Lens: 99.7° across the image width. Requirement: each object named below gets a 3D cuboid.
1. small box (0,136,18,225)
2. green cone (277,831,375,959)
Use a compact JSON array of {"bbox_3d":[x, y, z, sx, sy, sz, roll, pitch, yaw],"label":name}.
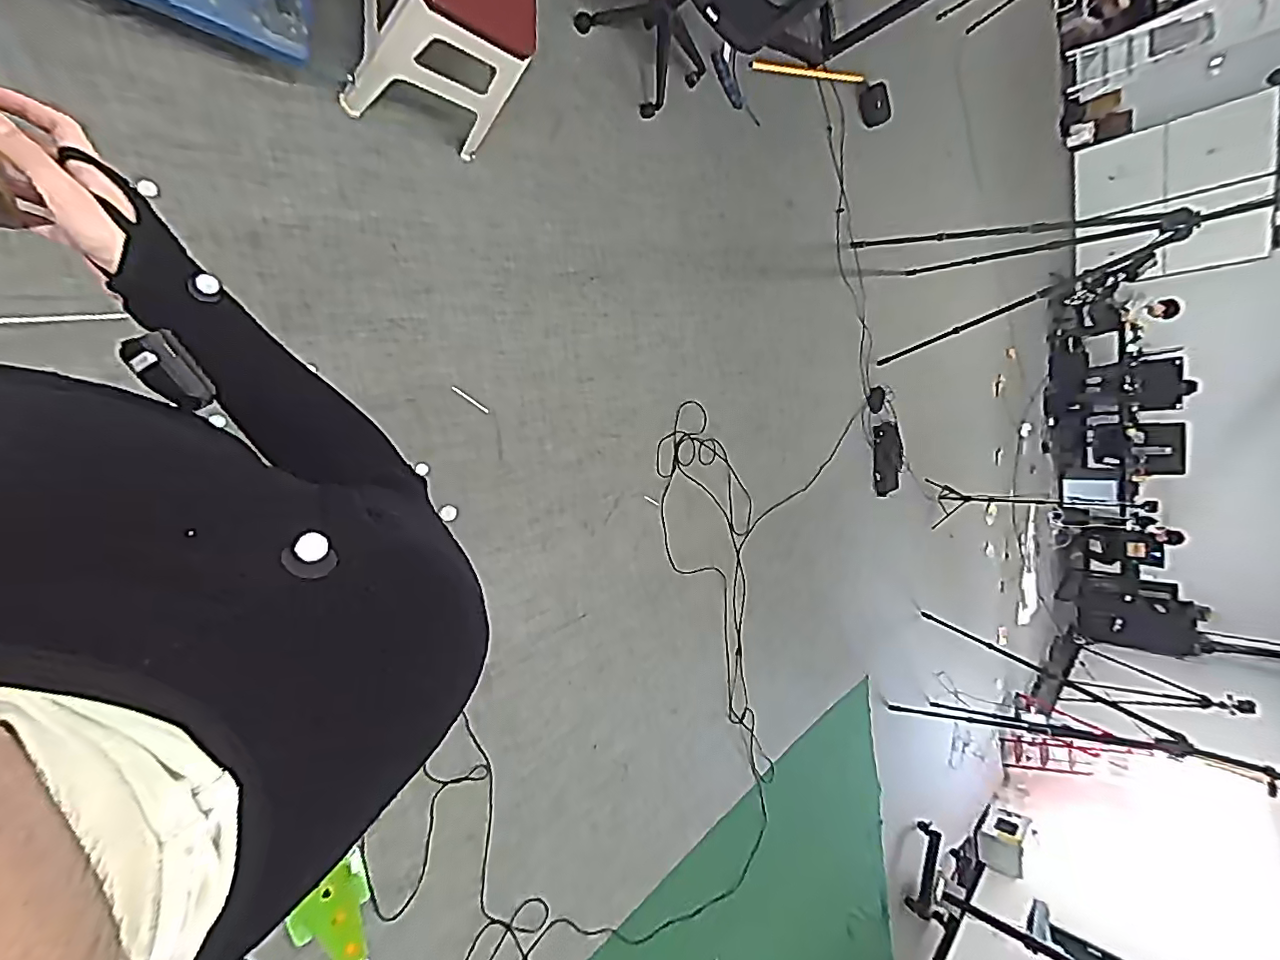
[{"bbox_3d":[-0.529,-0.274,0.325,0.168,0.176,0.179,-15,105,-41],"label":"small box"},{"bbox_3d":[-0.767,1.130,1.391,0.202,0.368,0.200,-20,106,-41],"label":"green cone"}]
